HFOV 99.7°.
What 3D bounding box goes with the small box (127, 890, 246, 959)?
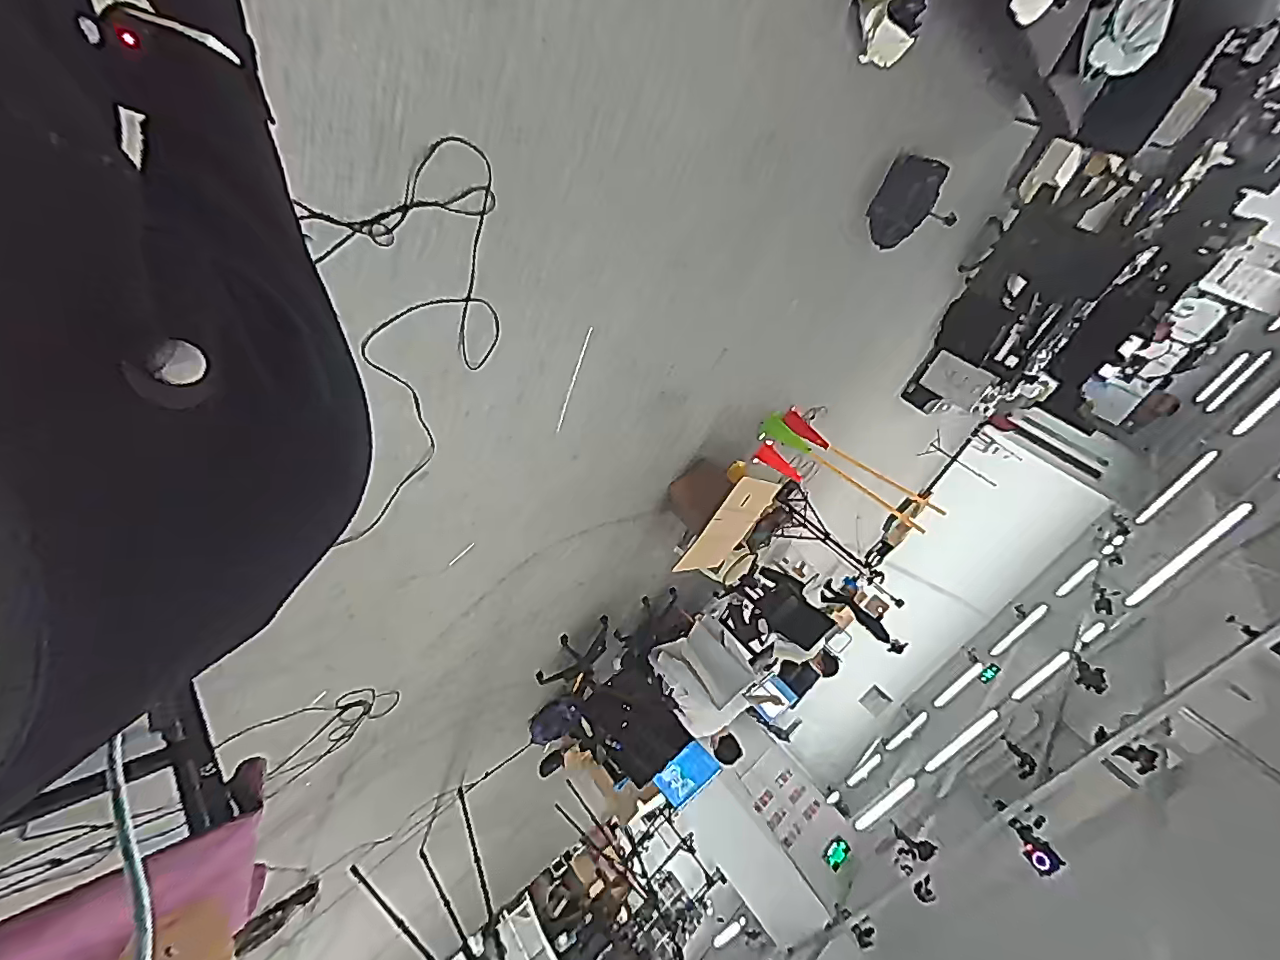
[{"bbox_3d":[-1.115,1.159,1.325,0.179,0.176,0.168,-53,151,13],"label":"small box"}]
